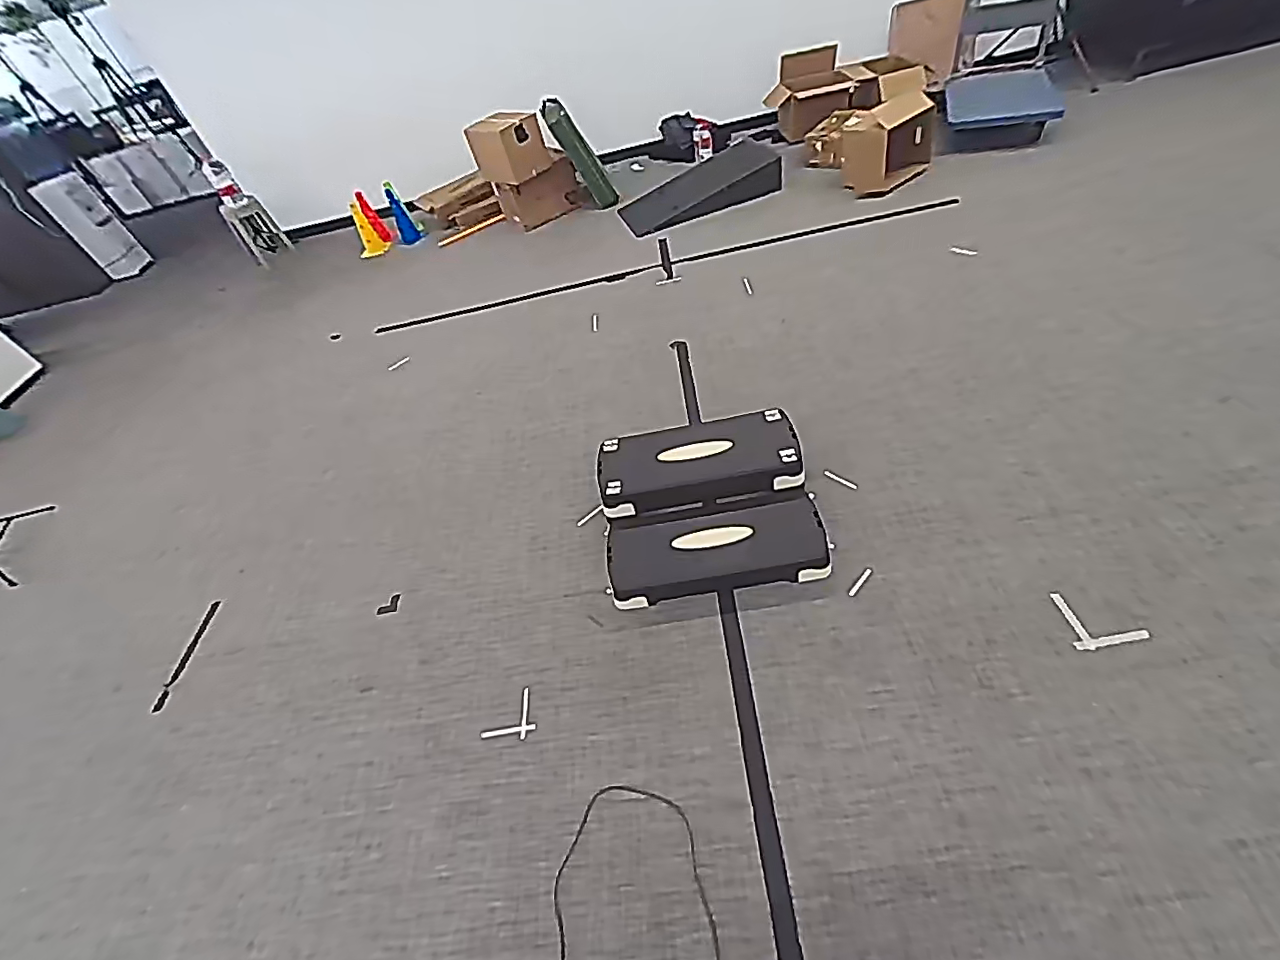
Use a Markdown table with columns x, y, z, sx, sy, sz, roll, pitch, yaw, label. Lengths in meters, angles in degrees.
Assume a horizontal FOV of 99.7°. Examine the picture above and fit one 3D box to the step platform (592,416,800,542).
| x | y | z | sx | sy | sz | roll | pitch | yaw | label |
| --- | --- | --- | --- | --- | --- | --- | --- | --- | --- |
| 0.181 | -0.008 | 1.831 | 0.684 | 0.204 | 0.286 | -11 | 47 | 4 | step platform |
